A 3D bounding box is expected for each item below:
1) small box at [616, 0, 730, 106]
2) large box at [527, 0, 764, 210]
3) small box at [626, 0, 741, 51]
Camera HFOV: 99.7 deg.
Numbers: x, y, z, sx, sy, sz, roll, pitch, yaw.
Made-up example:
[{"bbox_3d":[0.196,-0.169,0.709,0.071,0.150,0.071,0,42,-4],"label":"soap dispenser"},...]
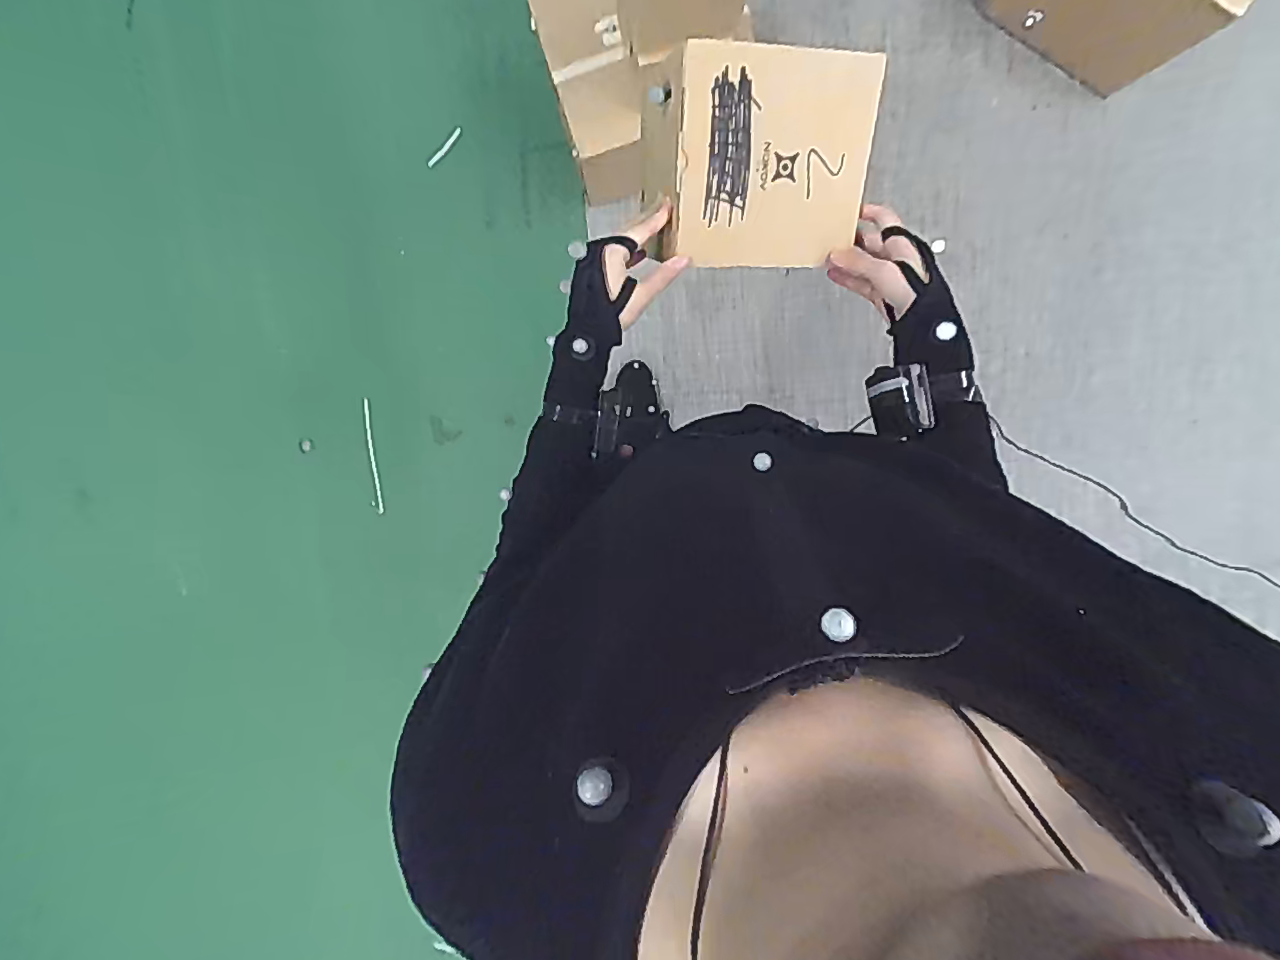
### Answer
[{"bbox_3d":[0.054,-0.808,0.970,0.168,0.176,0.179,-13,100,0],"label":"small box"},{"bbox_3d":[0.015,-0.869,1.209,0.408,0.320,0.320,-19,98,3],"label":"large box"},{"bbox_3d":[0.060,-0.789,0.809,0.179,0.176,0.168,-12,100,0],"label":"small box"}]
